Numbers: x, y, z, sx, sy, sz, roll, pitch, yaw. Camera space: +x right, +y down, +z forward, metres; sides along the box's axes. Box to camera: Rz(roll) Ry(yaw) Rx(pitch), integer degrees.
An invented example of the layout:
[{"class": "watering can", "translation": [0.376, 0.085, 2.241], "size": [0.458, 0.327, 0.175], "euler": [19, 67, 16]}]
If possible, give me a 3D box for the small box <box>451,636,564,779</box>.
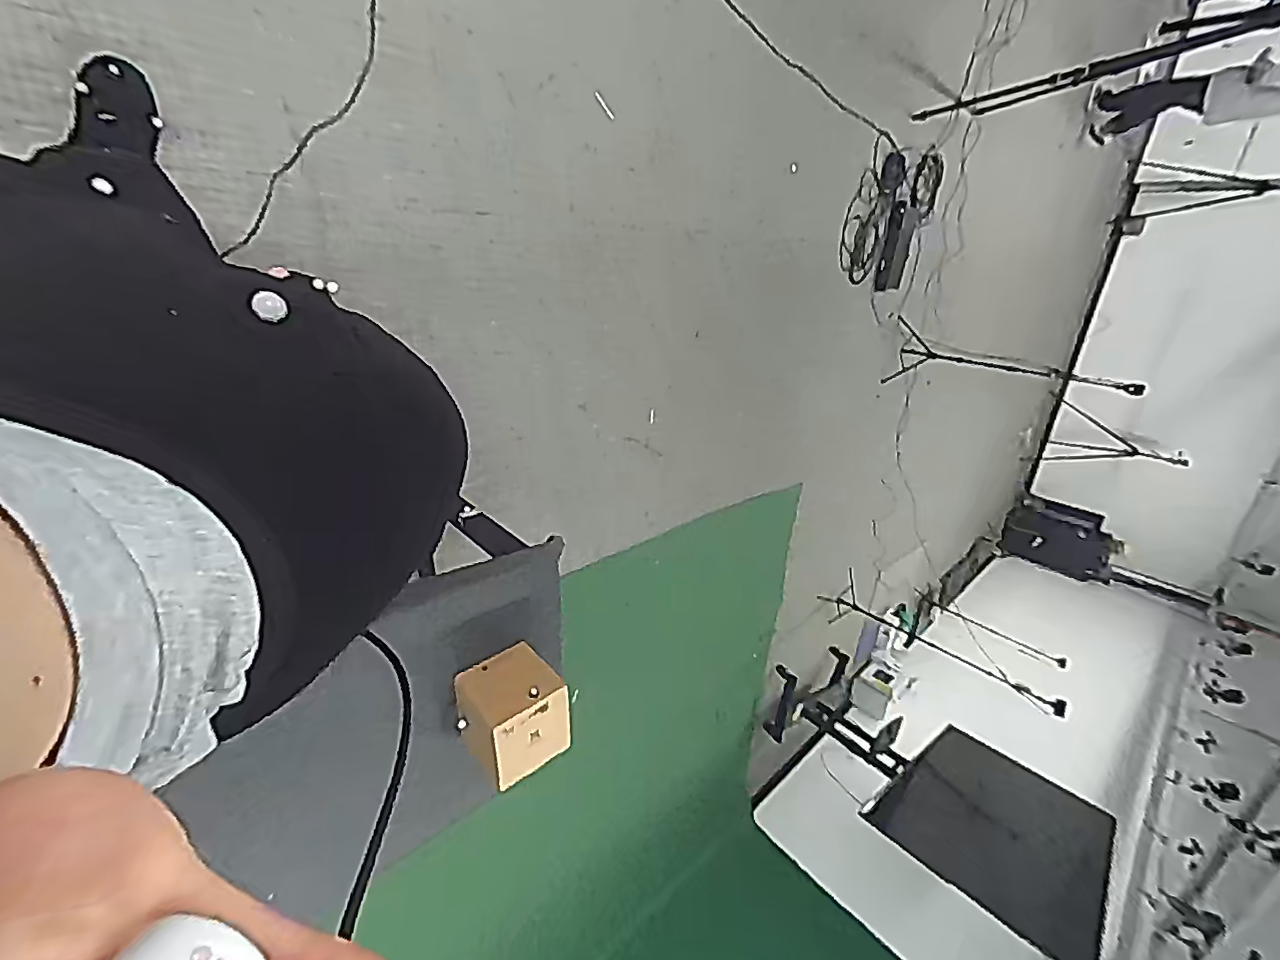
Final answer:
[{"class": "small box", "translation": [-0.274, 0.463, 1.124], "size": [0.168, 0.176, 0.179], "euler": [-21, 125, -39]}]
